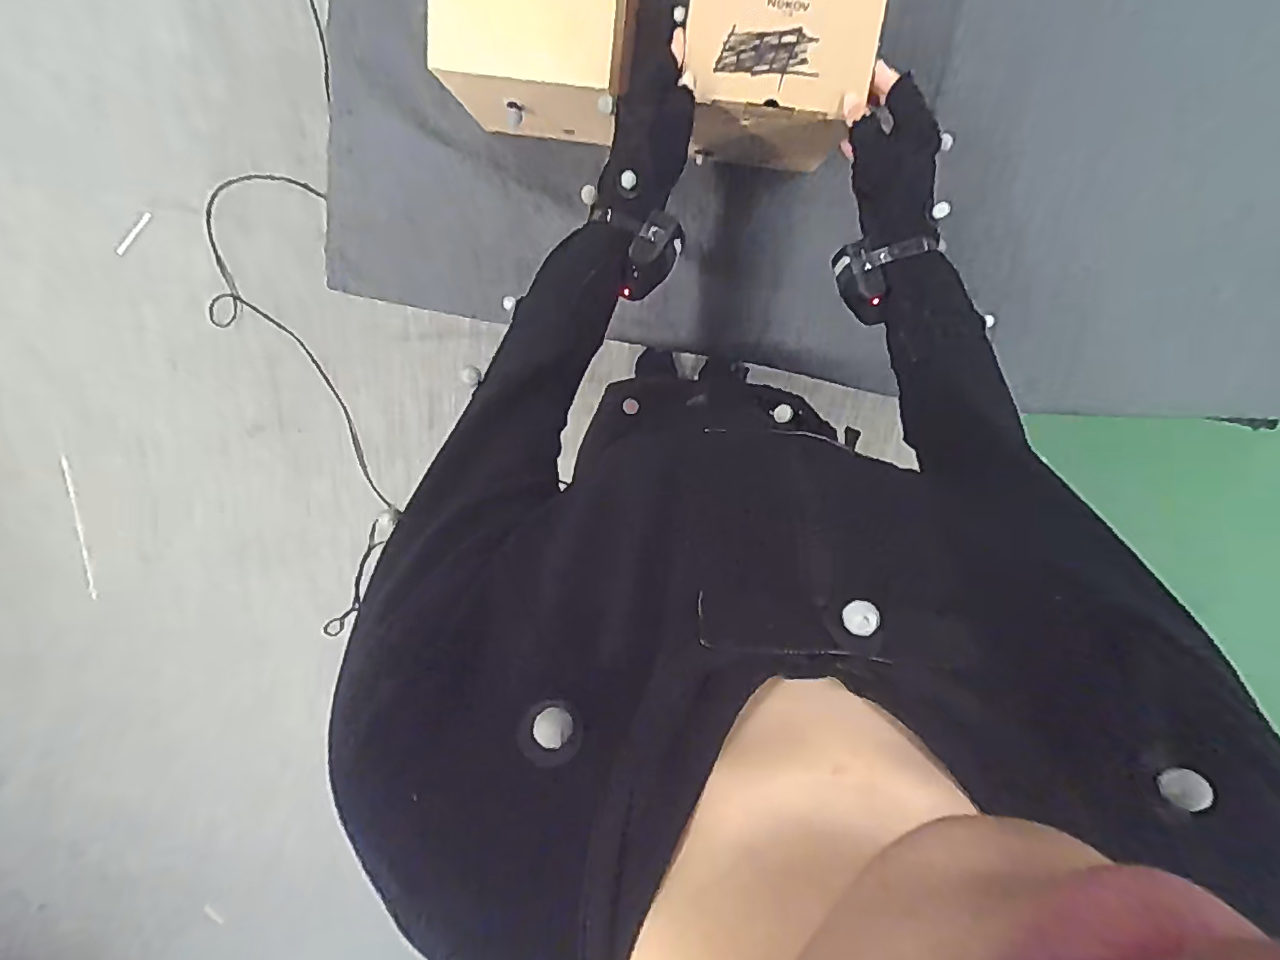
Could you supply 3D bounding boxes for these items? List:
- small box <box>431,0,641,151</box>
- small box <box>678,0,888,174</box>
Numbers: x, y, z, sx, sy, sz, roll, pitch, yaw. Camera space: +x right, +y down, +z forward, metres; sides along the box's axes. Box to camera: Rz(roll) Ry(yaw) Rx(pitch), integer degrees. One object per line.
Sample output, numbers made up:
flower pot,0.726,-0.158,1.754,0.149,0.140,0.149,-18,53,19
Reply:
small box,-0.091,-0.452,0.537,0.168,0.176,0.179,7,105,1
small box,0.131,-0.423,0.532,0.168,0.176,0.179,8,105,1
